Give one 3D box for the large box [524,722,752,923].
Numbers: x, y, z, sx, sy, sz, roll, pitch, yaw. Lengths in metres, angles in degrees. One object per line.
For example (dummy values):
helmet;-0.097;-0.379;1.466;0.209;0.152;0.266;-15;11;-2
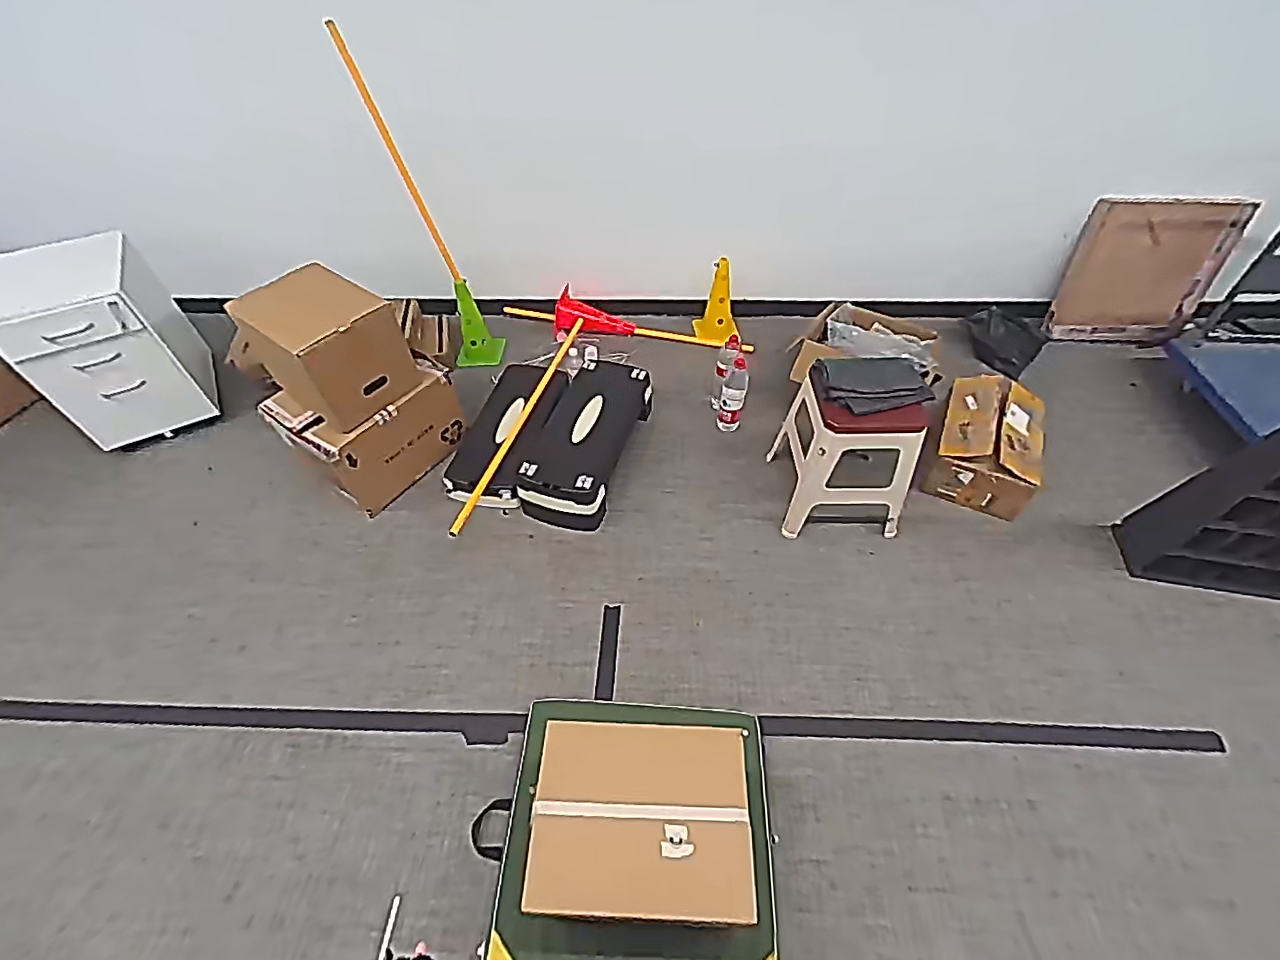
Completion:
large box;-0.003;0.725;1.138;0.408;0.320;0.320;2;50;1
